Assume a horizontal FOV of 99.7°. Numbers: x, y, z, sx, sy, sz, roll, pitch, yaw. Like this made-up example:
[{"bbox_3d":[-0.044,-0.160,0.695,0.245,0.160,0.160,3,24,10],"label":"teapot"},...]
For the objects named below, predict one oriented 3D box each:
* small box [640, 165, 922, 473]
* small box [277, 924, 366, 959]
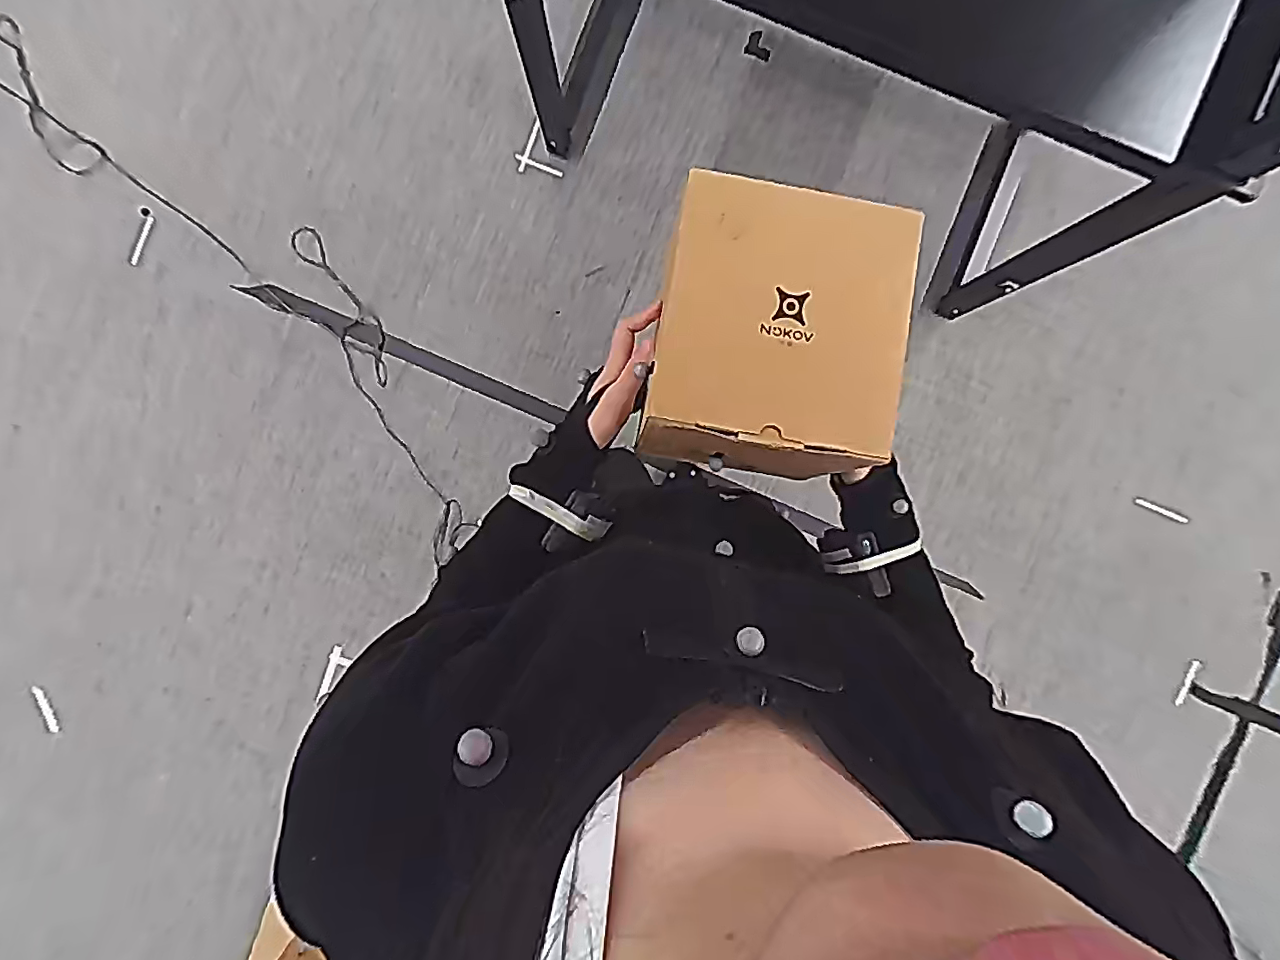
[{"bbox_3d":[0.095,-0.108,0.438,0.168,0.176,0.179,9,87,-2],"label":"small box"},{"bbox_3d":[-0.874,1.332,1.446,0.179,0.176,0.168,16,93,-1],"label":"small box"}]
